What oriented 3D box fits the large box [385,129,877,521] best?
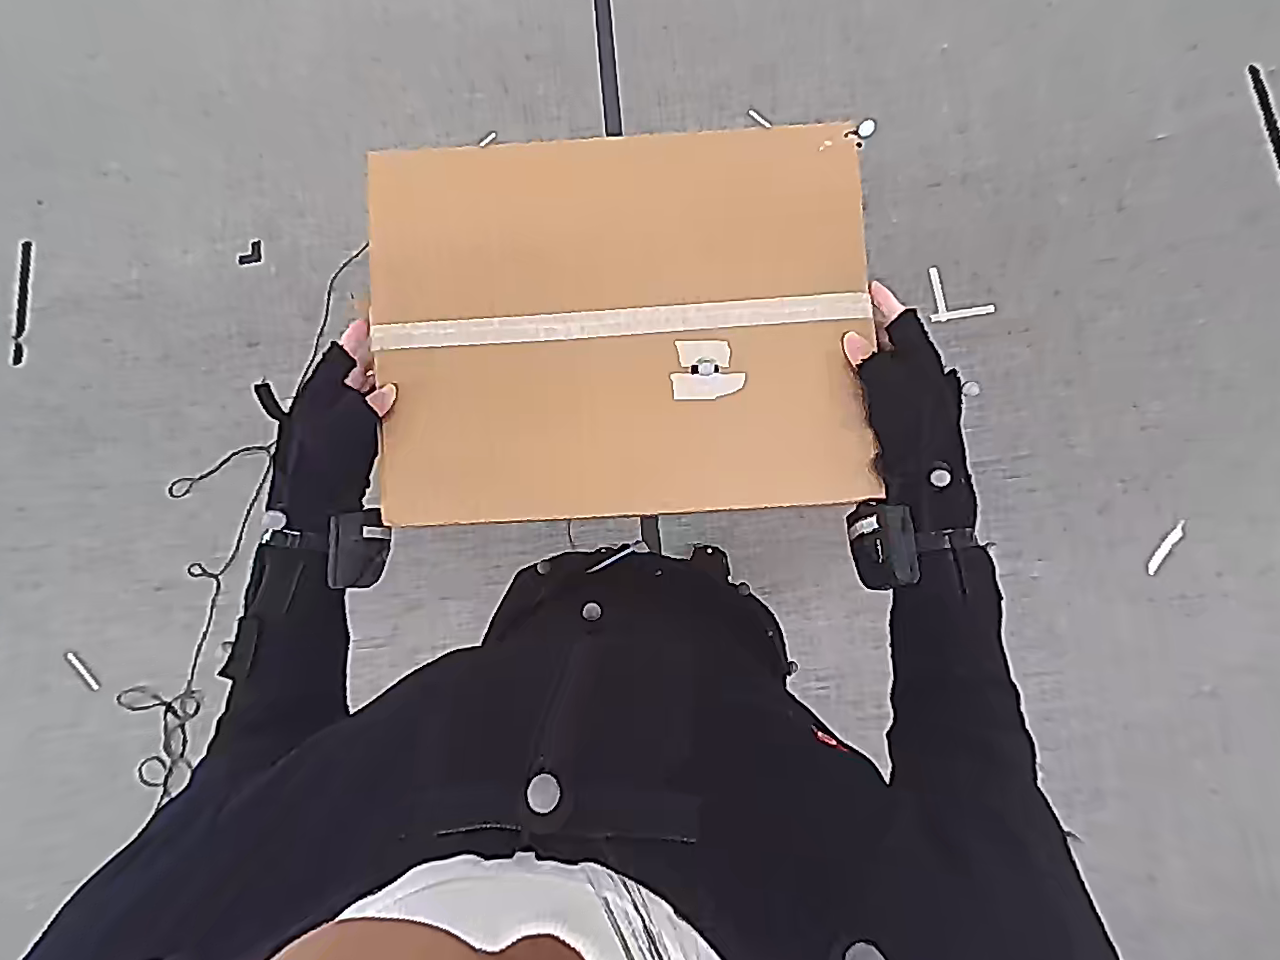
[{"bbox_3d":[-0.012,-0.126,0.602,0.408,0.320,0.320,-4,88,0],"label":"large box"}]
